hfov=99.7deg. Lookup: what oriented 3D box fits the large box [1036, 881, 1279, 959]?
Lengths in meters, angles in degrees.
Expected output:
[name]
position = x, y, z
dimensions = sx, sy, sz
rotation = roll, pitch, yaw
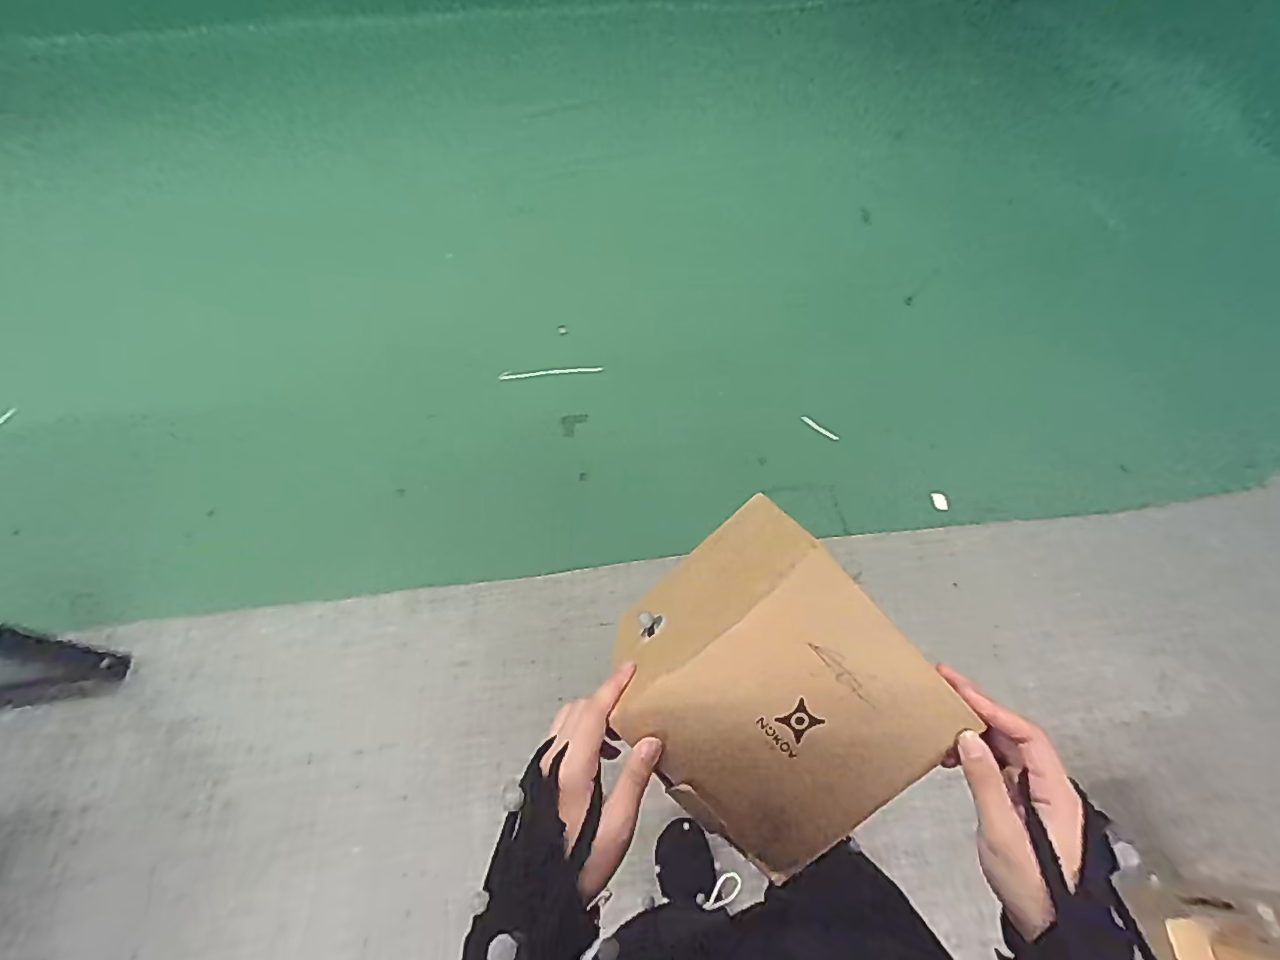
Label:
[large box]
position = 0.914, 0.884, 0.816
dimensions = 0.320, 0.320, 0.408
rotation = -2, 61, 0
